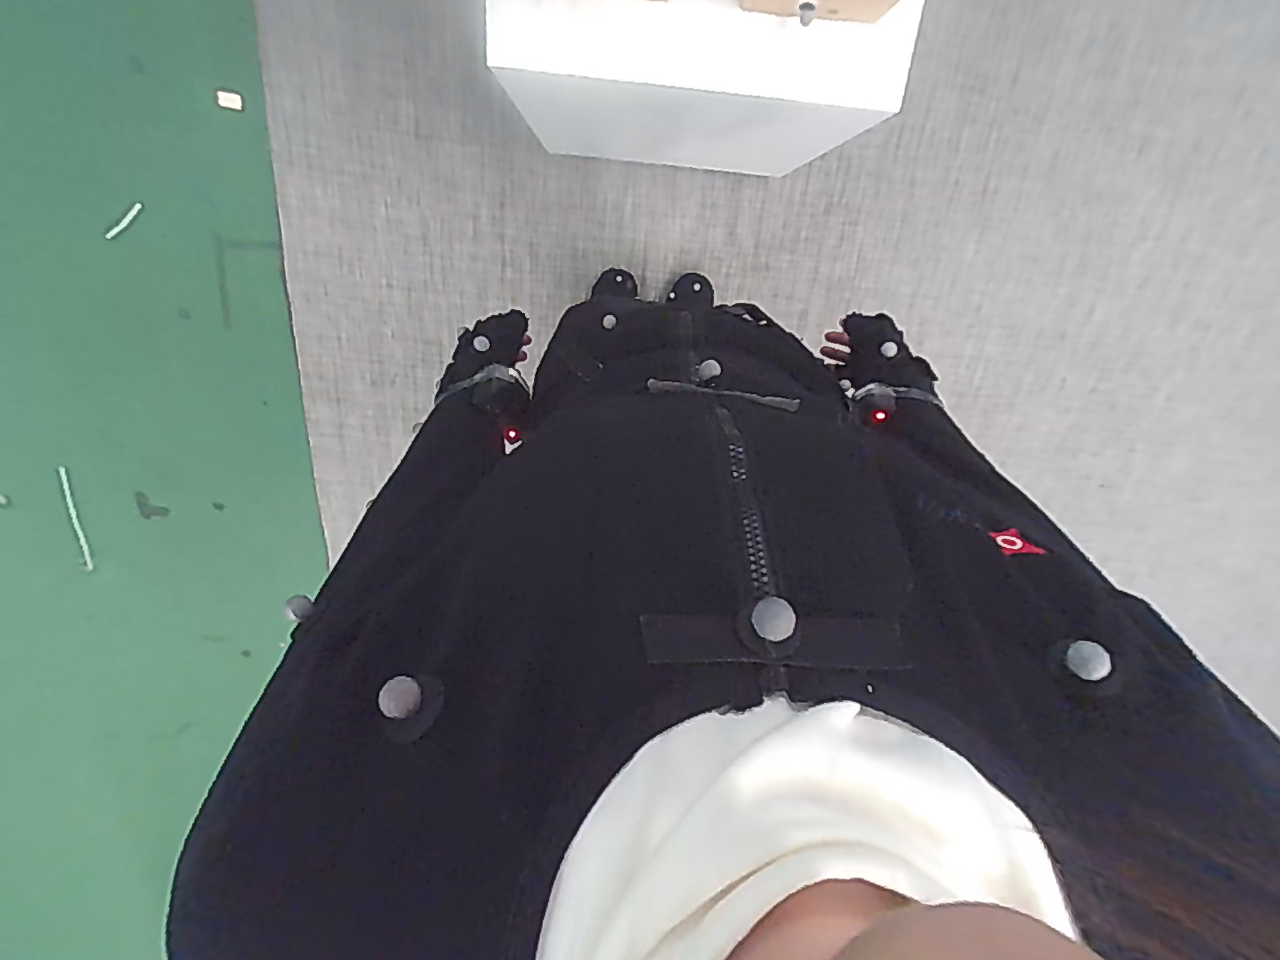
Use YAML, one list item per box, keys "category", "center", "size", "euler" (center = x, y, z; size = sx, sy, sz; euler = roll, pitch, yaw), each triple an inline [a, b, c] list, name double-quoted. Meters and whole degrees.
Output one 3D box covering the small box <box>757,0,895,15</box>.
- category: "small box"
  center: [0.205, -0.586, 0.511]
  size: [0.168, 0.176, 0.179]
  euler: [2, 114, 0]
